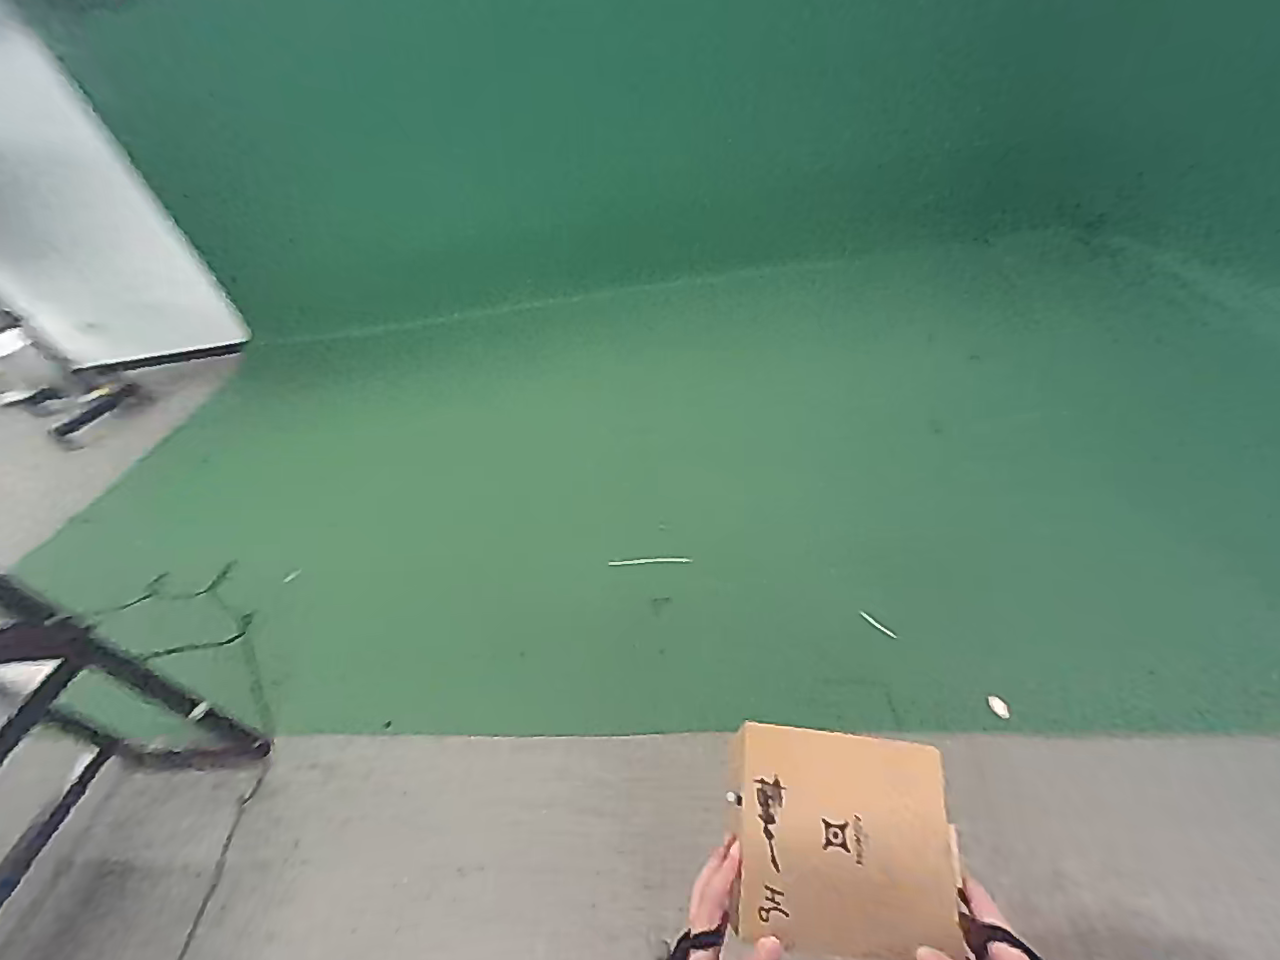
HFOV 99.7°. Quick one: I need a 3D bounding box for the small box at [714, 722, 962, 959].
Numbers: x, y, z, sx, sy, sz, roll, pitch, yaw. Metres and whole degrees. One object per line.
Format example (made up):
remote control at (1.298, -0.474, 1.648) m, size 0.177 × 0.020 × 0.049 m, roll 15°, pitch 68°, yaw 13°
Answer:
small box at (0.170, 0.343, 0.519) m, size 0.179 × 0.176 × 0.168 m, roll 5°, pitch 58°, yaw 6°
